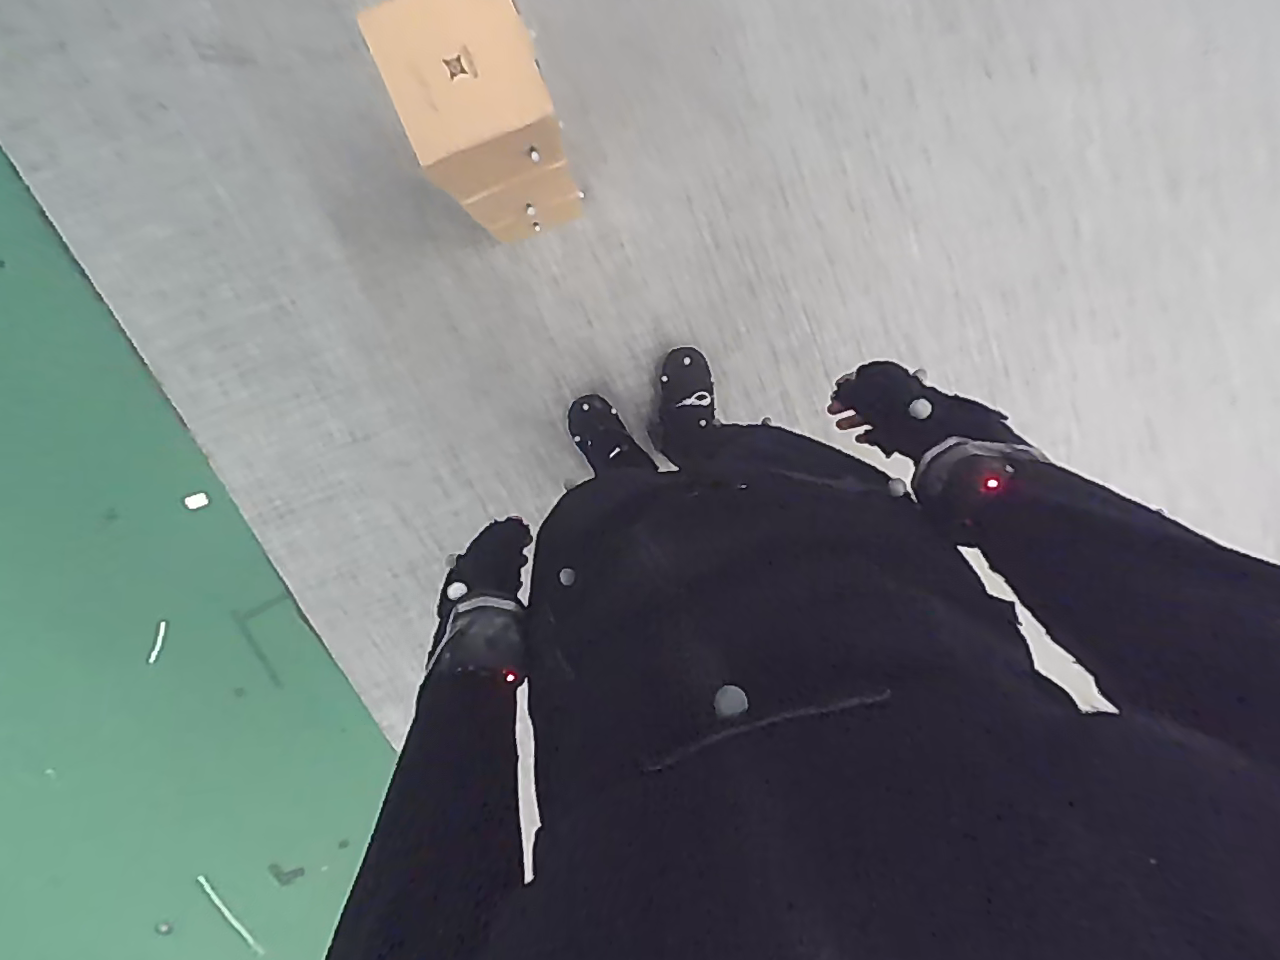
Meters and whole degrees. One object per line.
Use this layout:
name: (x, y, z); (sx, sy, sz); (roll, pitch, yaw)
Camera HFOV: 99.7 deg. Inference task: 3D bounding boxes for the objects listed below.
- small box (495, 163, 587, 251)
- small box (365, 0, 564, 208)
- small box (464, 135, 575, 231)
small box: (-0.211, -0.556, 1.020); (0.179, 0.176, 0.168); (-23, 104, 2)
small box: (-0.207, -0.483, 0.702); (0.179, 0.176, 0.168); (-21, 104, 4)
small box: (-0.210, -0.520, 0.861); (0.179, 0.176, 0.168); (-20, 104, 2)
